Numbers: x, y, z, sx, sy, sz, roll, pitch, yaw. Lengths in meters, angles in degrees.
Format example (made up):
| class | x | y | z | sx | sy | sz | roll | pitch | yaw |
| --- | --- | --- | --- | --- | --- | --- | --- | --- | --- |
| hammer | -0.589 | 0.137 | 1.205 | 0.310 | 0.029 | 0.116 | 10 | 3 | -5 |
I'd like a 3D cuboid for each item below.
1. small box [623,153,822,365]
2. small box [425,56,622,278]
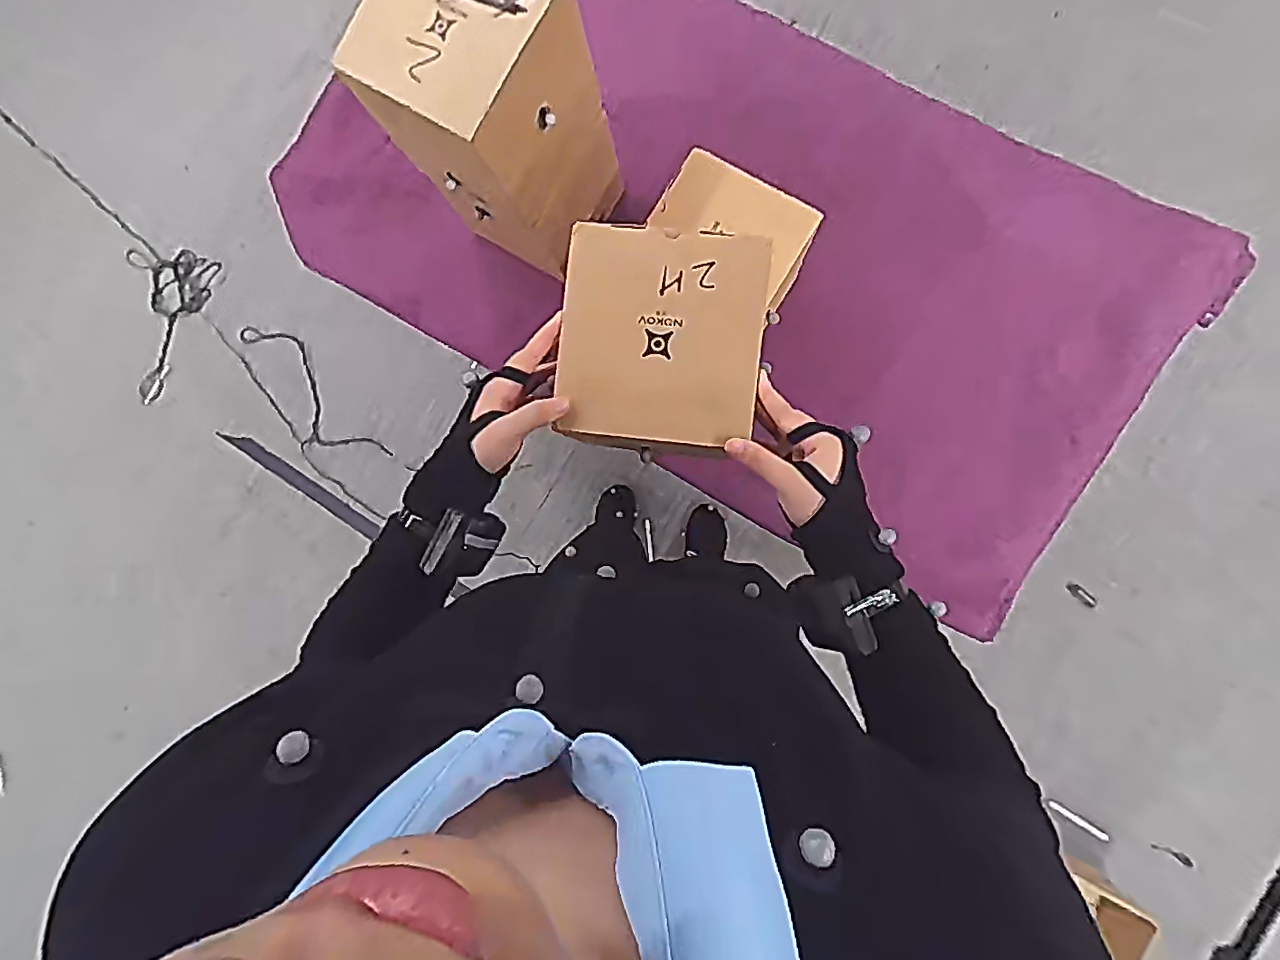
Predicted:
| class | x | y | z | sx | sy | sz | roll | pitch | yaw |
| --- | --- | --- | --- | --- | --- | --- | --- | --- | --- |
| small box | 0.103 | -0.268 | 0.703 | 0.179 | 0.176 | 0.168 | 32 | 91 | 8 |
| small box | -0.144 | -0.407 | 0.736 | 0.179 | 0.176 | 0.168 | 31 | 91 | 6 |
